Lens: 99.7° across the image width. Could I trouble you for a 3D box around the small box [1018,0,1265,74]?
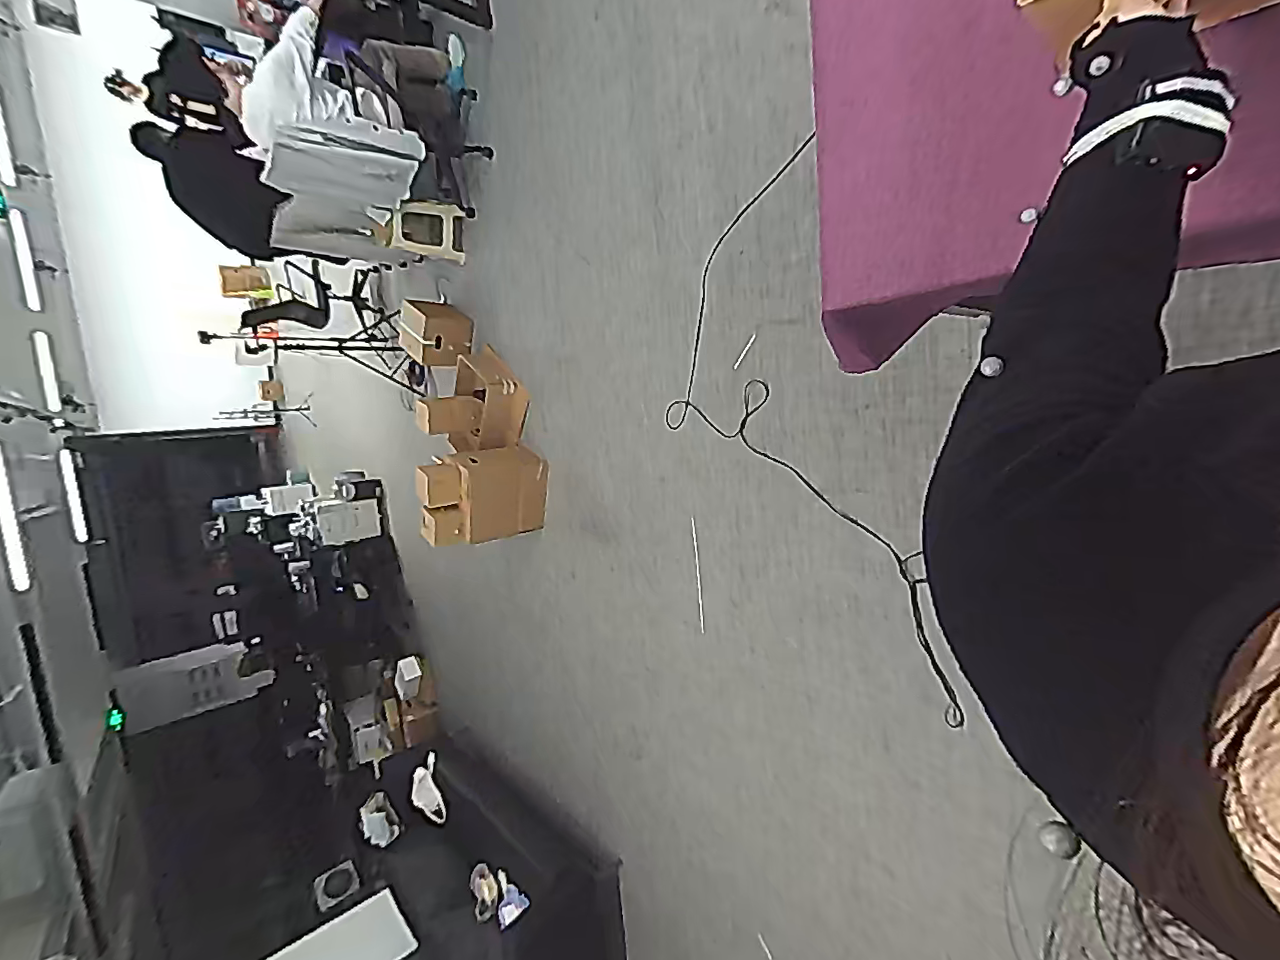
[{"bbox_3d":[0.473,-0.528,0.495,0.168,0.176,0.179,10,102,48],"label":"small box"}]
